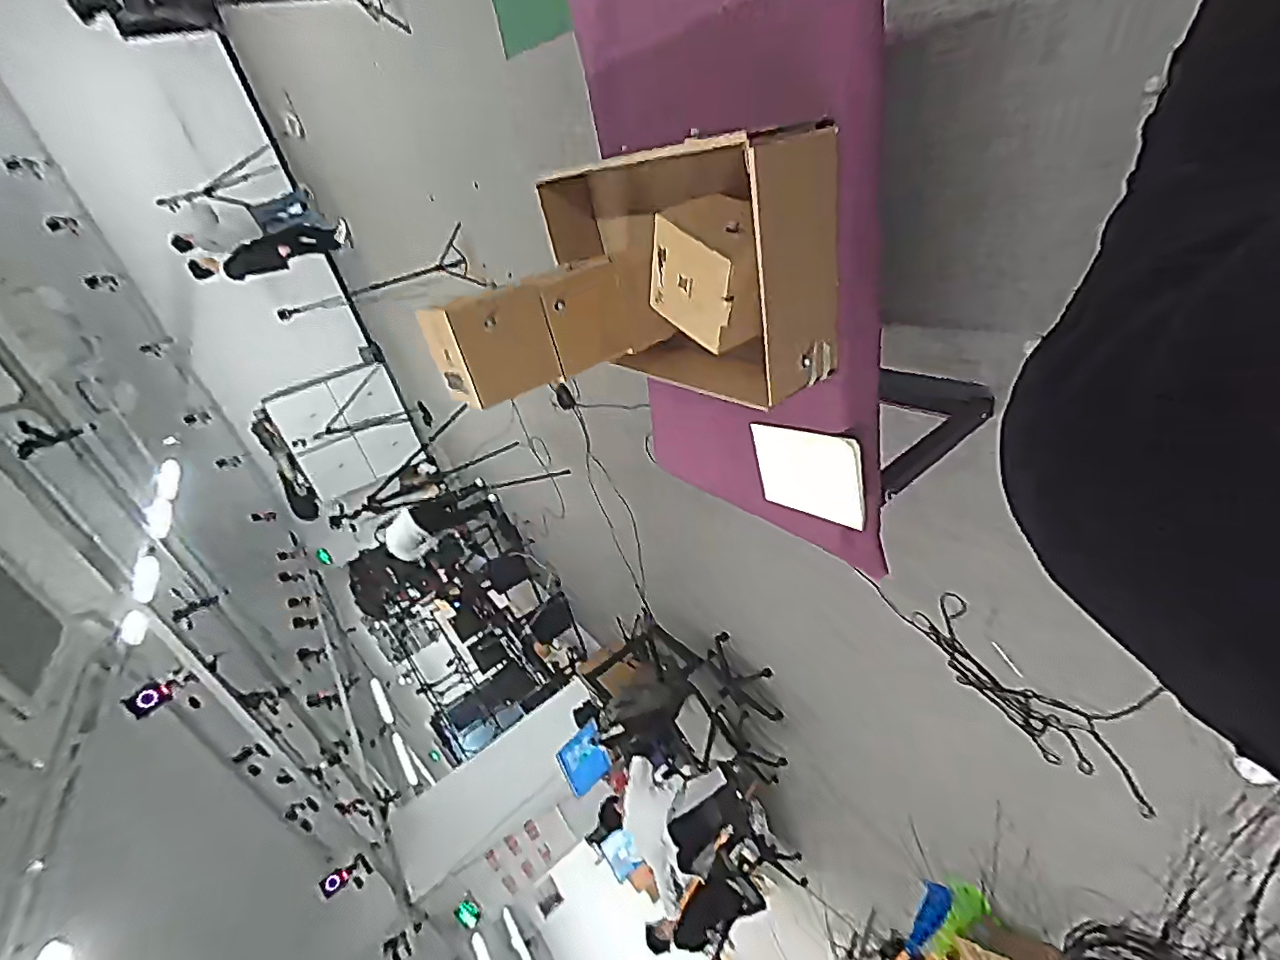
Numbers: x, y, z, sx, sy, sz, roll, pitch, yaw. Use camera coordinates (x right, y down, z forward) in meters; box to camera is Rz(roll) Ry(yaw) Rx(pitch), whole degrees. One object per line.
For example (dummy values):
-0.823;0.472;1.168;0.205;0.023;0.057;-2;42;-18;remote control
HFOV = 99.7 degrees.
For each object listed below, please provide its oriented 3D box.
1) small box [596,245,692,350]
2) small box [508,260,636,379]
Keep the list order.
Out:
-0.005;-0.392;1.146;0.179;0.176;0.168;27;139;46;small box
-0.128;-0.321;1.069;0.168;0.176;0.179;24;137;48;small box
